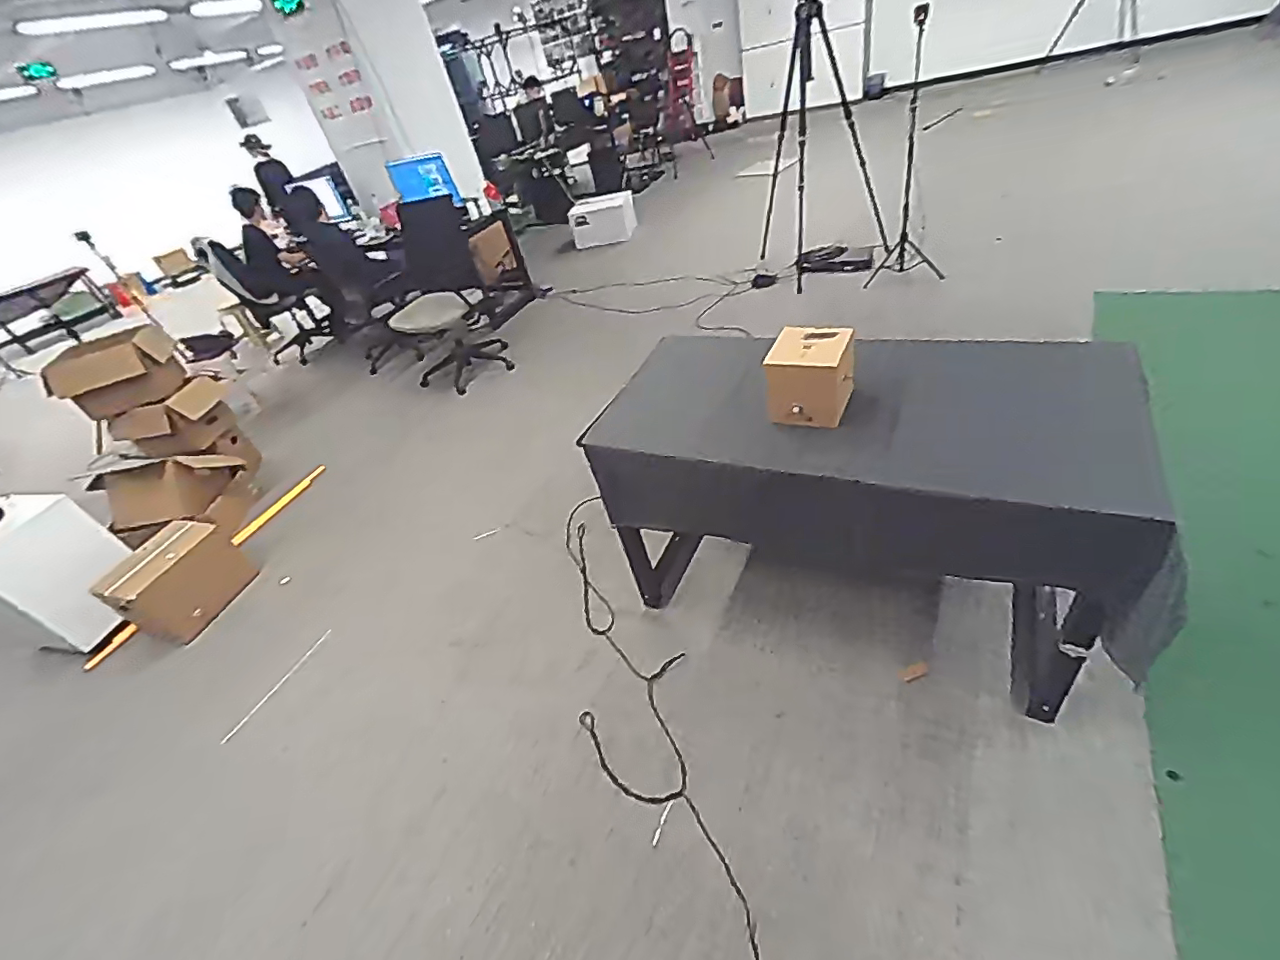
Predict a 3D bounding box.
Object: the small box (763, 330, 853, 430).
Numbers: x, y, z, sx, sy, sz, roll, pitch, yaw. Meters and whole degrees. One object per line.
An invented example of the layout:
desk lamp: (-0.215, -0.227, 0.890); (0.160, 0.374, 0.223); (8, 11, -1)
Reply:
small box: (0.405, -0.243, 1.298); (0.168, 0.176, 0.179); (9, 45, 30)
